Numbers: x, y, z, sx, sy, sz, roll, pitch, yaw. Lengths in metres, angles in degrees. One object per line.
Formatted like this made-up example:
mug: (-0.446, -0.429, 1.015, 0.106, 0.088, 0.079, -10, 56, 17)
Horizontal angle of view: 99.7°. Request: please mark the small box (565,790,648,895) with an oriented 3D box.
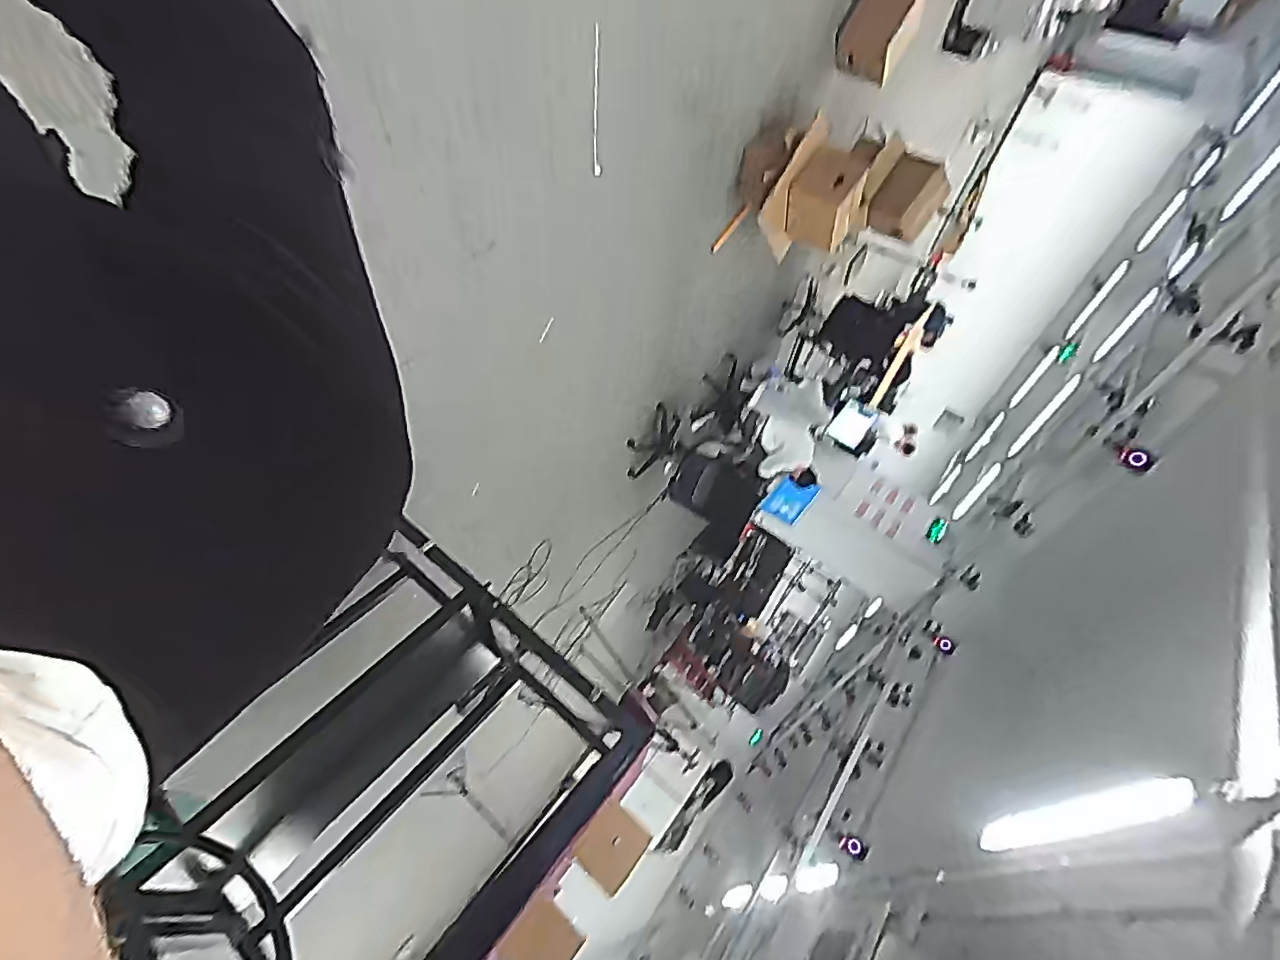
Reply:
small box: (-0.101, 1.036, 1.549, 0.179, 0.176, 0.168, -42, 157, -34)
